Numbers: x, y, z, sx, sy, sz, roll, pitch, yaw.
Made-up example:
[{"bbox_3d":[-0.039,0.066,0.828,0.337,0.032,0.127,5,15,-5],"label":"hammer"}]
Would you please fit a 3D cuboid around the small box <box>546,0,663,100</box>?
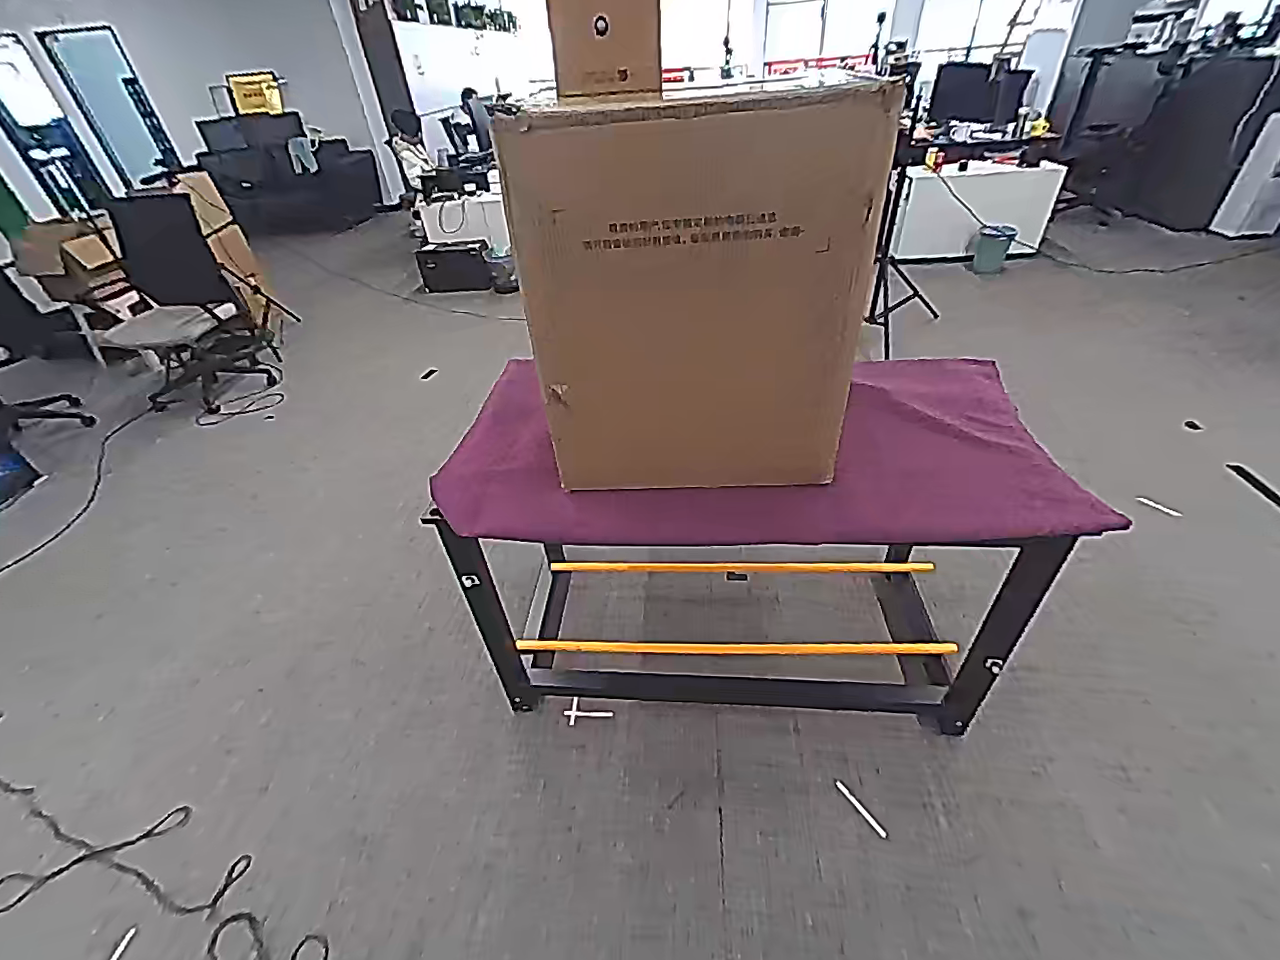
[{"bbox_3d":[-0.053,-0.700,0.844,0.168,0.176,0.179,-4,38,-1],"label":"small box"}]
